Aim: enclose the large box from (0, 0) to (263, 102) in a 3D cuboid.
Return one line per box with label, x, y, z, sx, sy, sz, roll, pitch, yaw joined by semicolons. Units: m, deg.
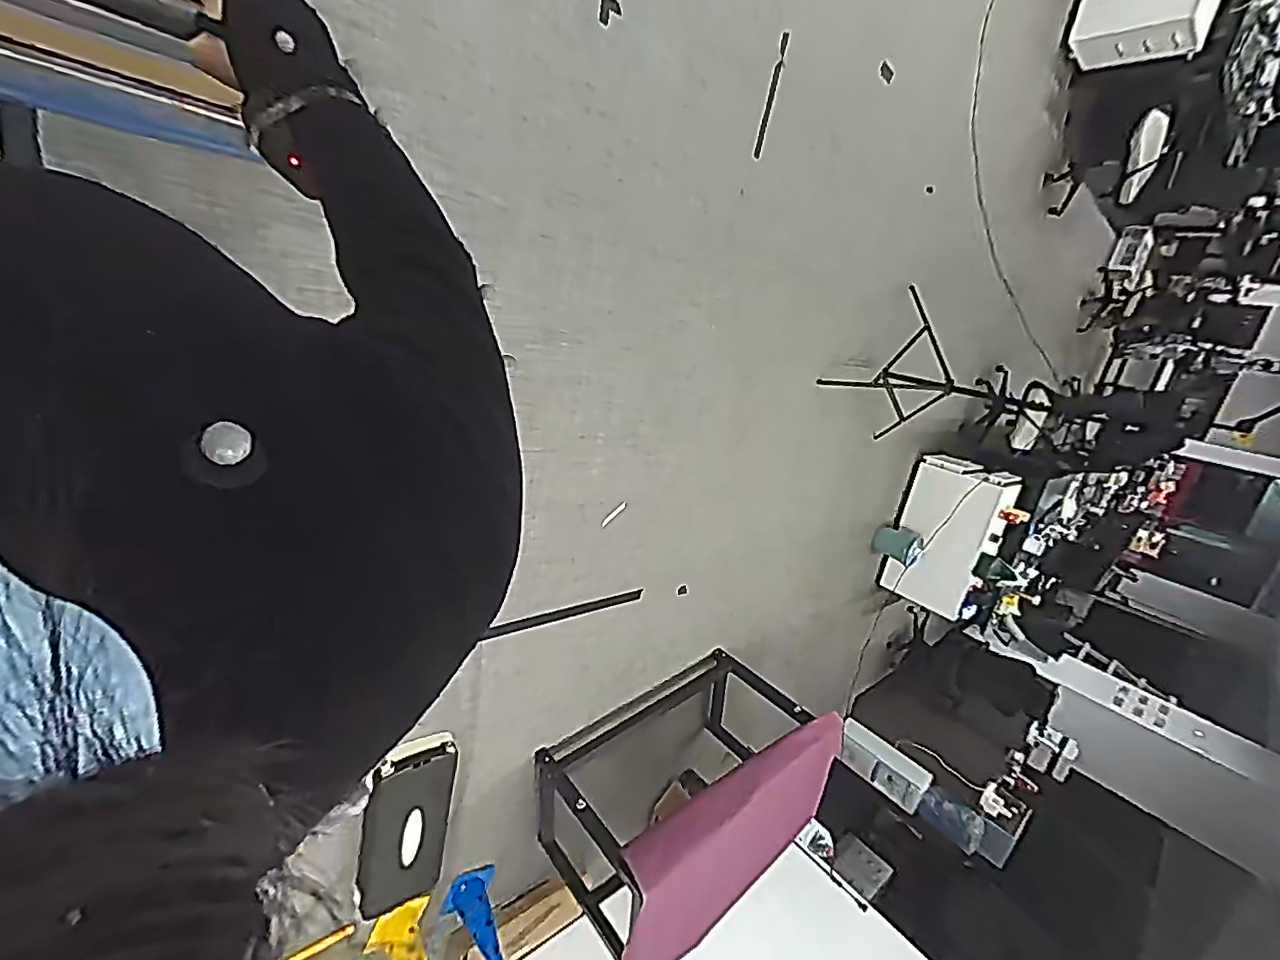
large box;-0.746;-0.746;0.677;0.408;0.320;0.320;-6;112;-42
